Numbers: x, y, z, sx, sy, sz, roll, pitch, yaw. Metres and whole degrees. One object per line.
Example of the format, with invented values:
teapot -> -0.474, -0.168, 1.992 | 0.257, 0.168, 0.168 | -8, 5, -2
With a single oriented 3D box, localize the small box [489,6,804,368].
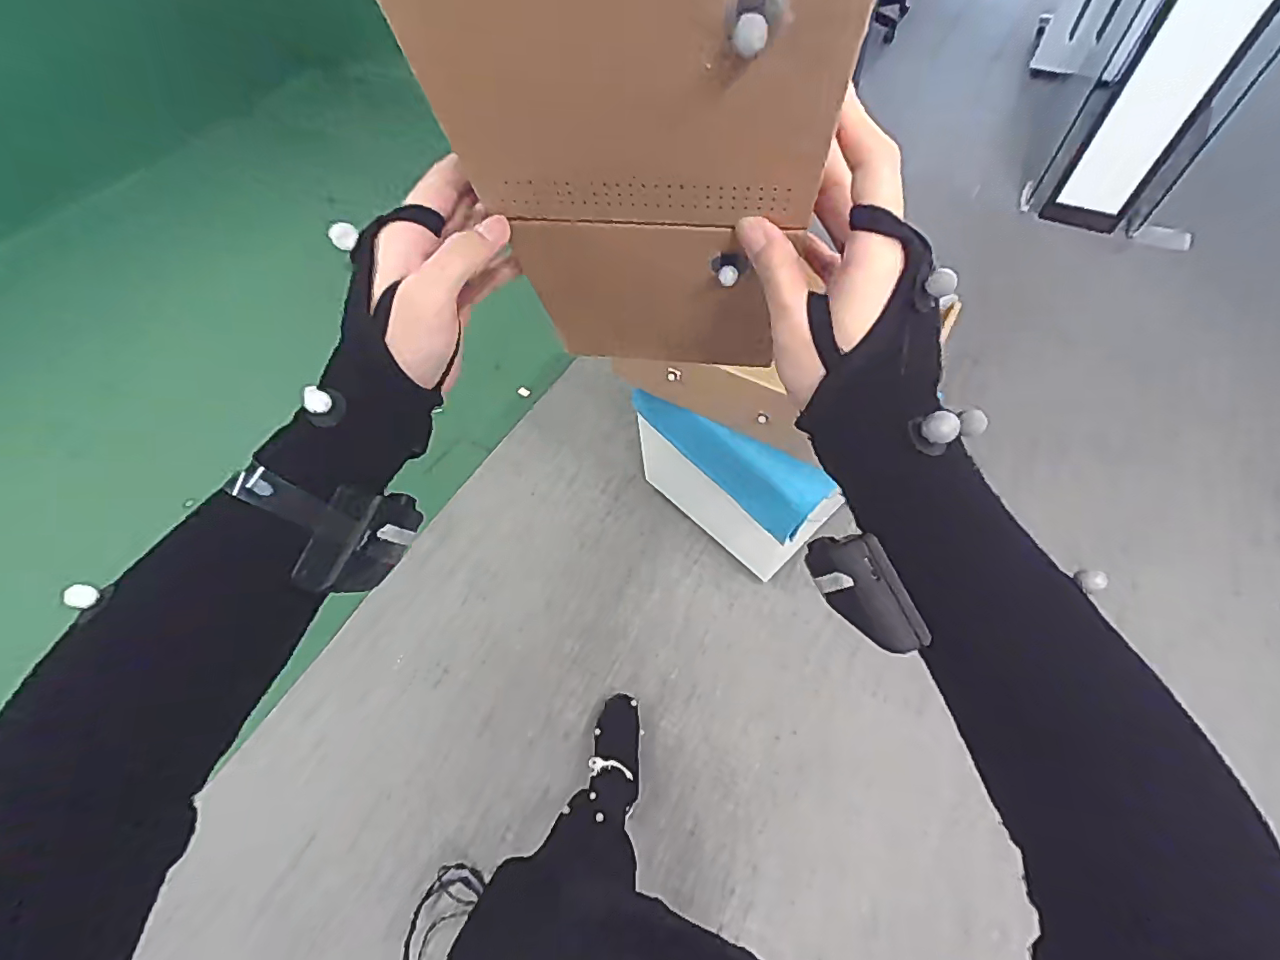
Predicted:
small box -> 0.015, -0.195, 0.399 | 0.179, 0.176, 0.168 | 5, 76, 8
